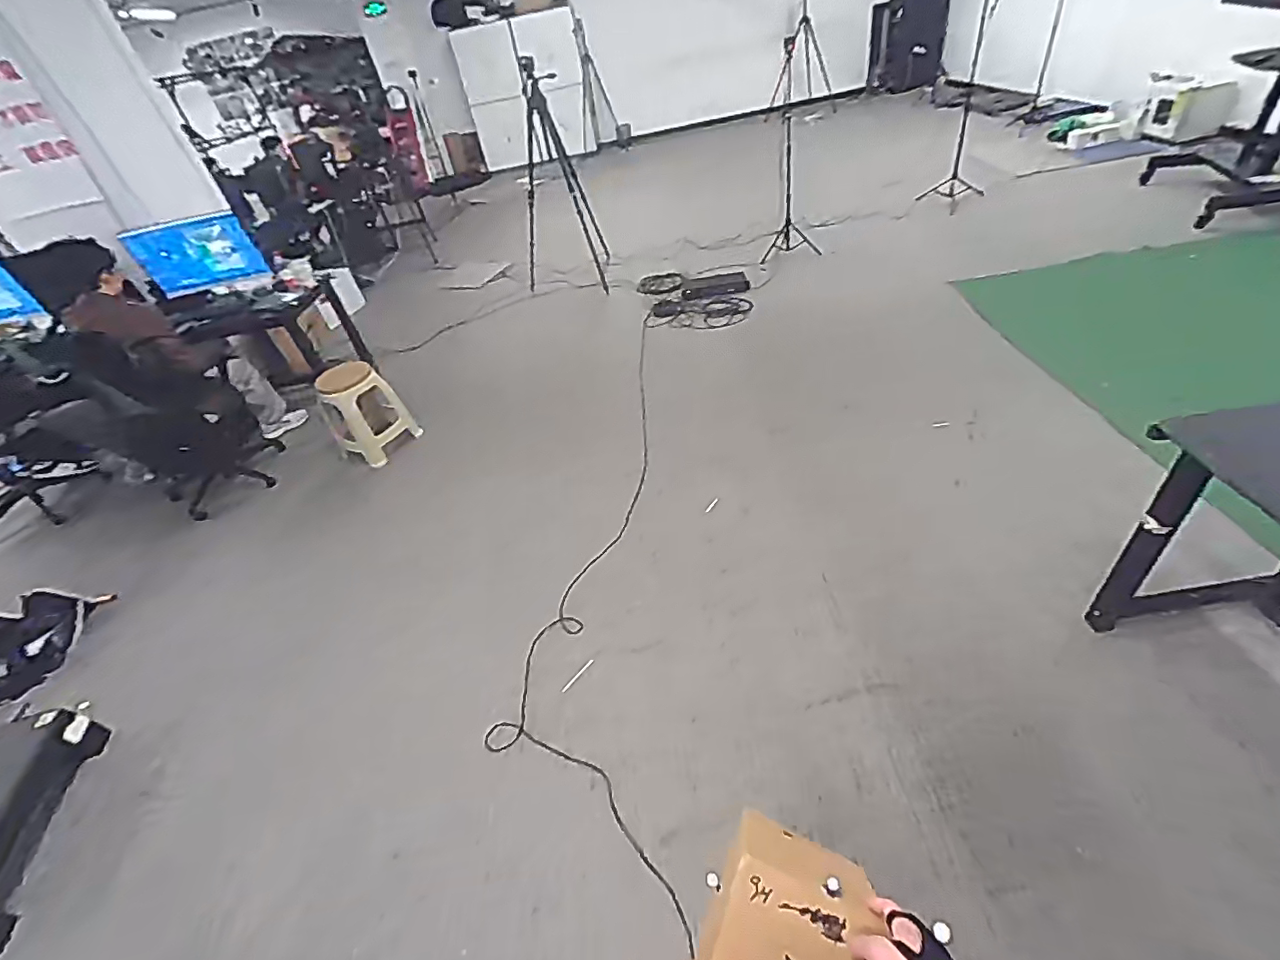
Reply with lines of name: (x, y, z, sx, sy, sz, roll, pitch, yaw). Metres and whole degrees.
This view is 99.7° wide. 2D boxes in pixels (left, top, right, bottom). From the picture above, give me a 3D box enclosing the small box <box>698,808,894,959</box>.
small box: (0.172, 0.532, 0.634, 0.168, 0.176, 0.179, 20, 80, 16)
